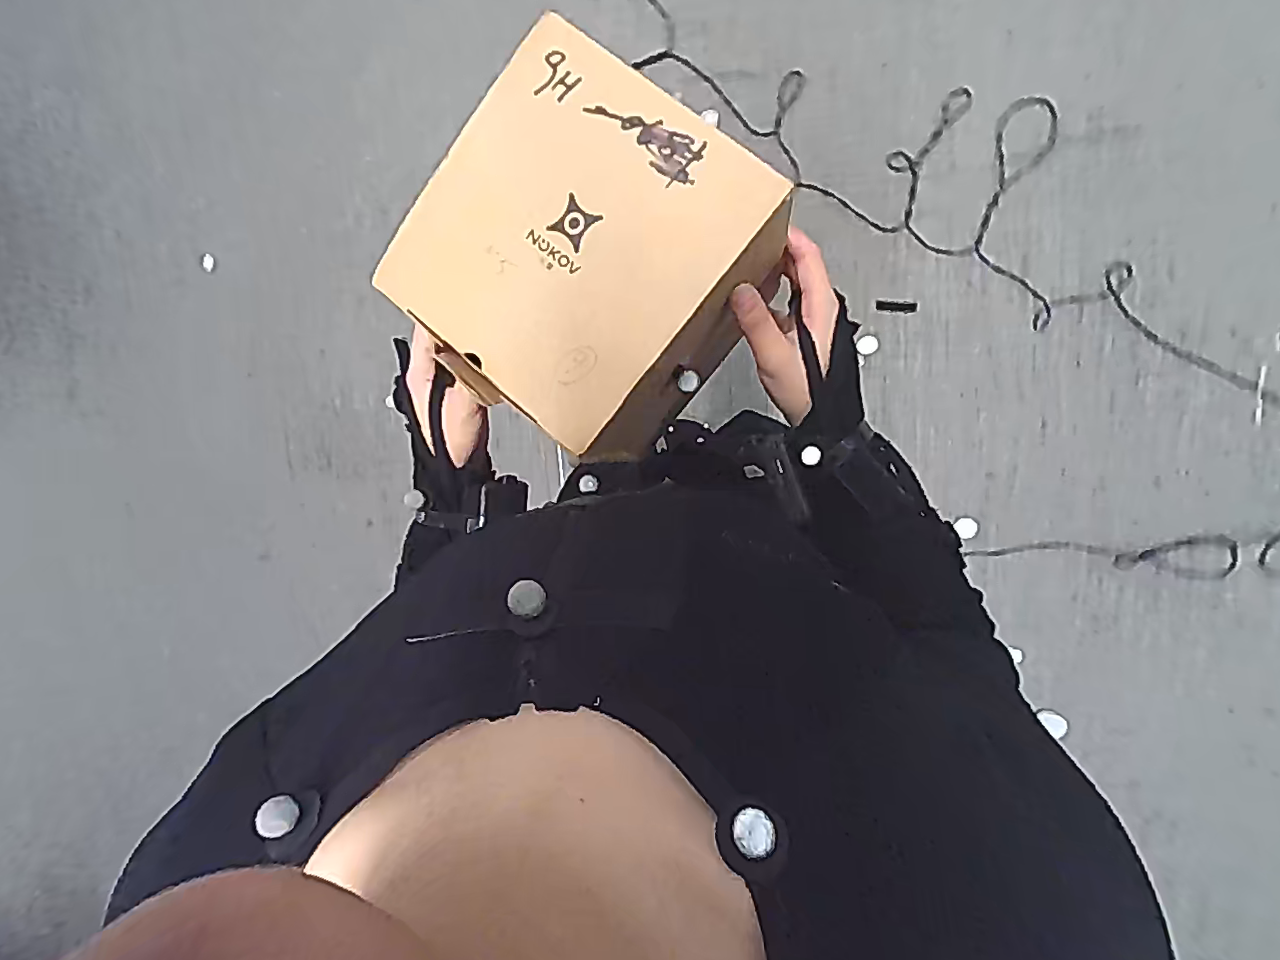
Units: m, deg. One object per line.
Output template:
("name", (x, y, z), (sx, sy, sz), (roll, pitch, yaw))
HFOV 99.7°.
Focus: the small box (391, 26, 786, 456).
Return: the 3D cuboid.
("small box", (-0.019, -0.132, 0.373), (0.168, 0.176, 0.179), (41, 100, 7))
